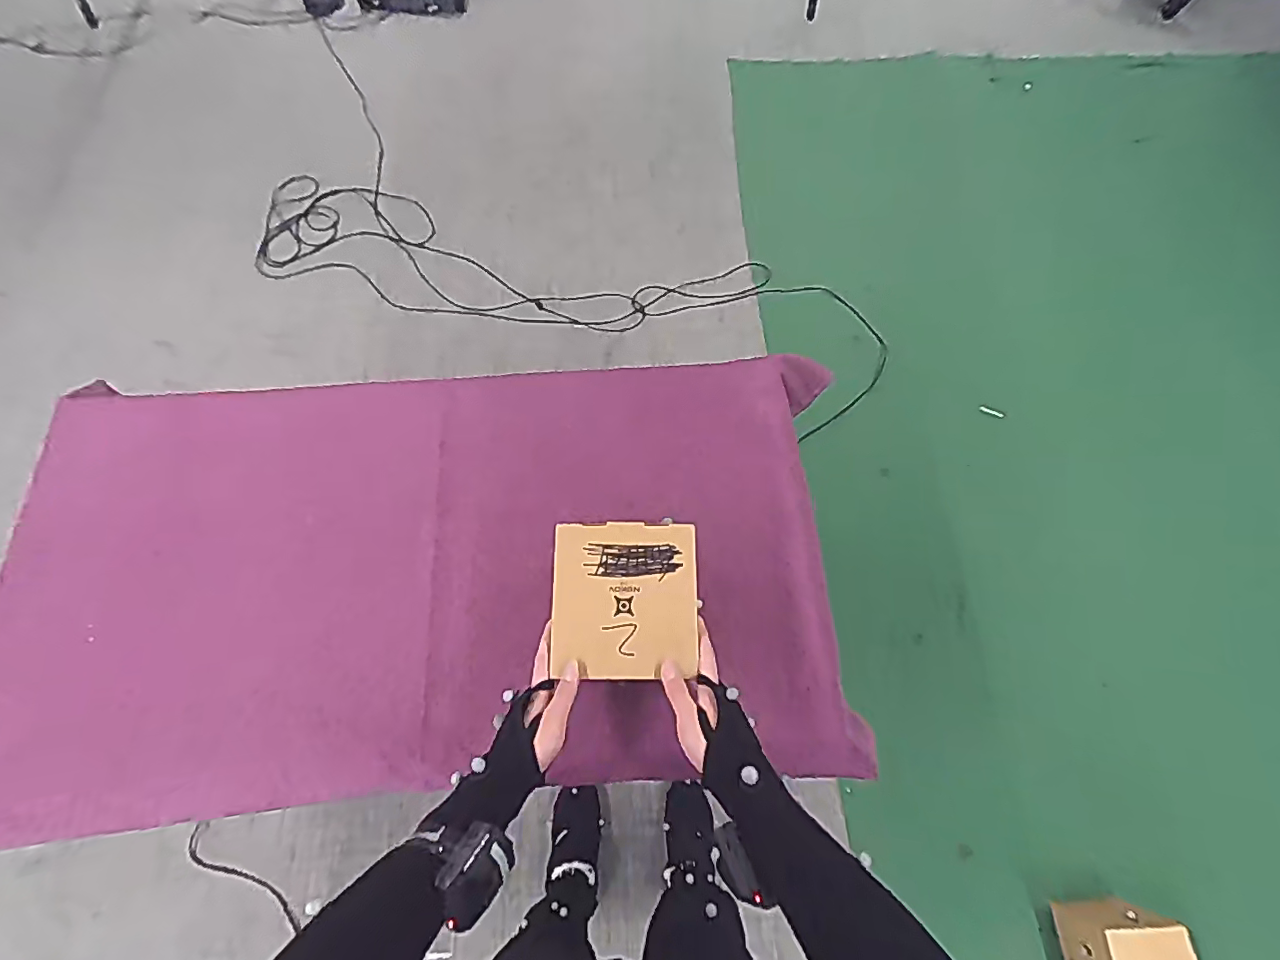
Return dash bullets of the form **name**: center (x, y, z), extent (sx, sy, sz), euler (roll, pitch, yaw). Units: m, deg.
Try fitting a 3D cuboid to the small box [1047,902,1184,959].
- **small box**: center (1.027, 1.040, 1.166), extent (0.179, 0.176, 0.168), euler (-1, 68, -3)
